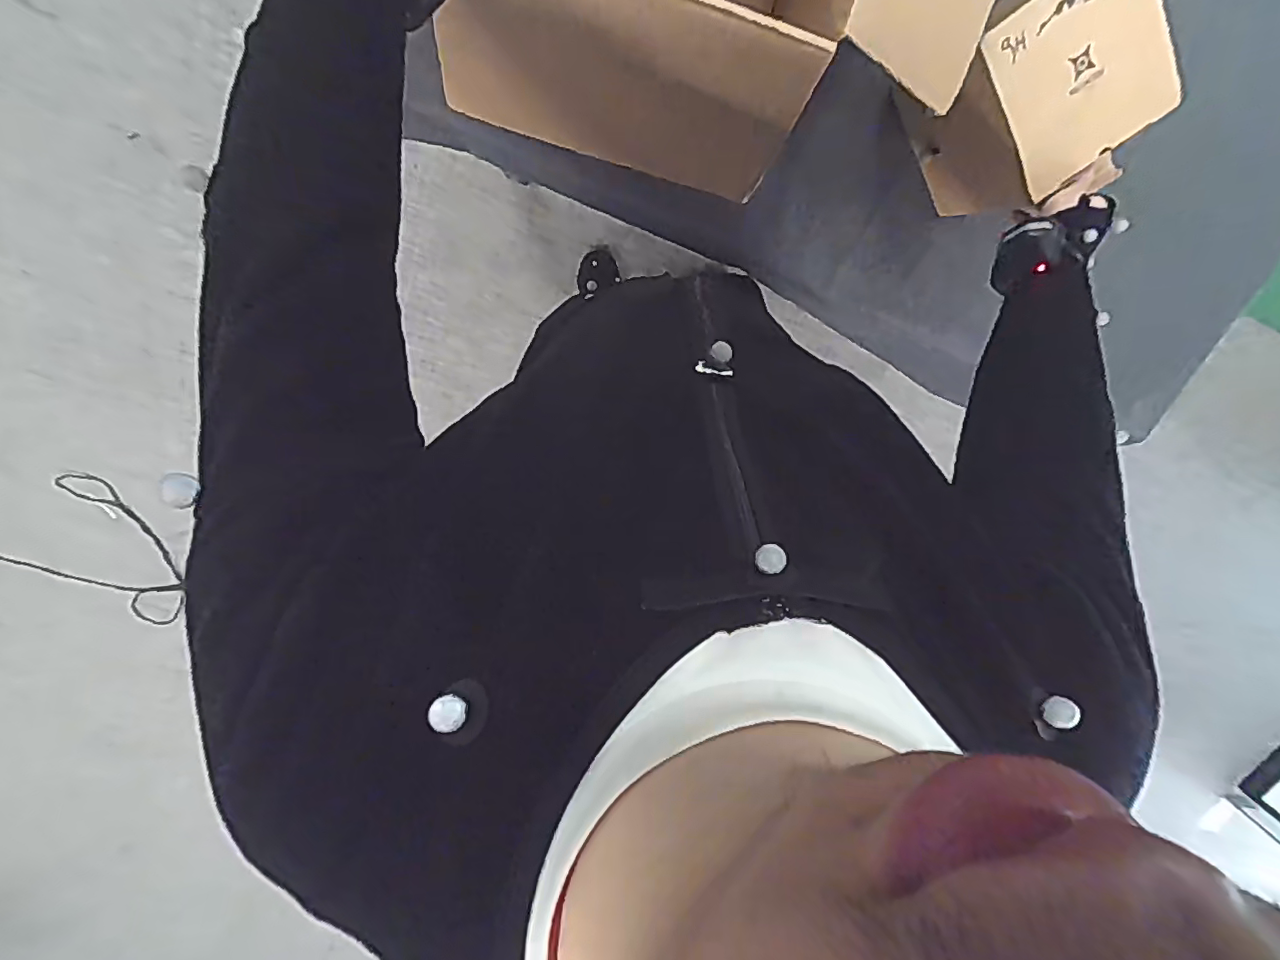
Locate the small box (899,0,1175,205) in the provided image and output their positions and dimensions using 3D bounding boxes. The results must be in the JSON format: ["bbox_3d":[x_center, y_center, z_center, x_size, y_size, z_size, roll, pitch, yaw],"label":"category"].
[{"bbox_3d":[0.432,-0.439,0.611,0.168,0.176,0.179,-32,113,10],"label":"small box"}]
